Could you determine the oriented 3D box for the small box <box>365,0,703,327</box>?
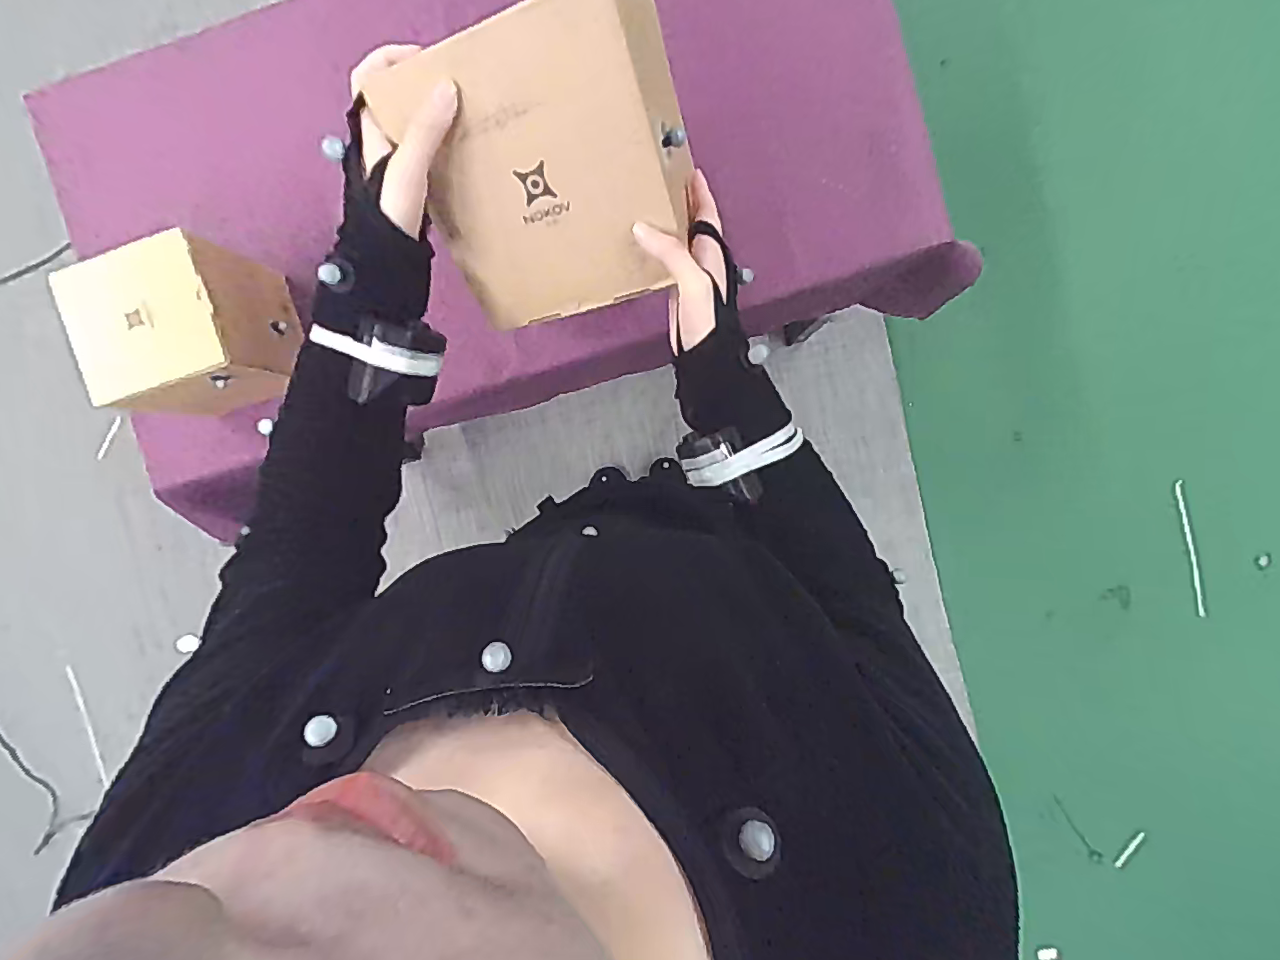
[{"bbox_3d":[-0.053,-0.248,0.411,0.168,0.176,0.179,-8,132,19],"label":"small box"}]

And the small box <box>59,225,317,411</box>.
[{"bbox_3d":[-0.577,-0.196,0.714,0.179,0.176,0.168,-18,91,3],"label":"small box"}]
